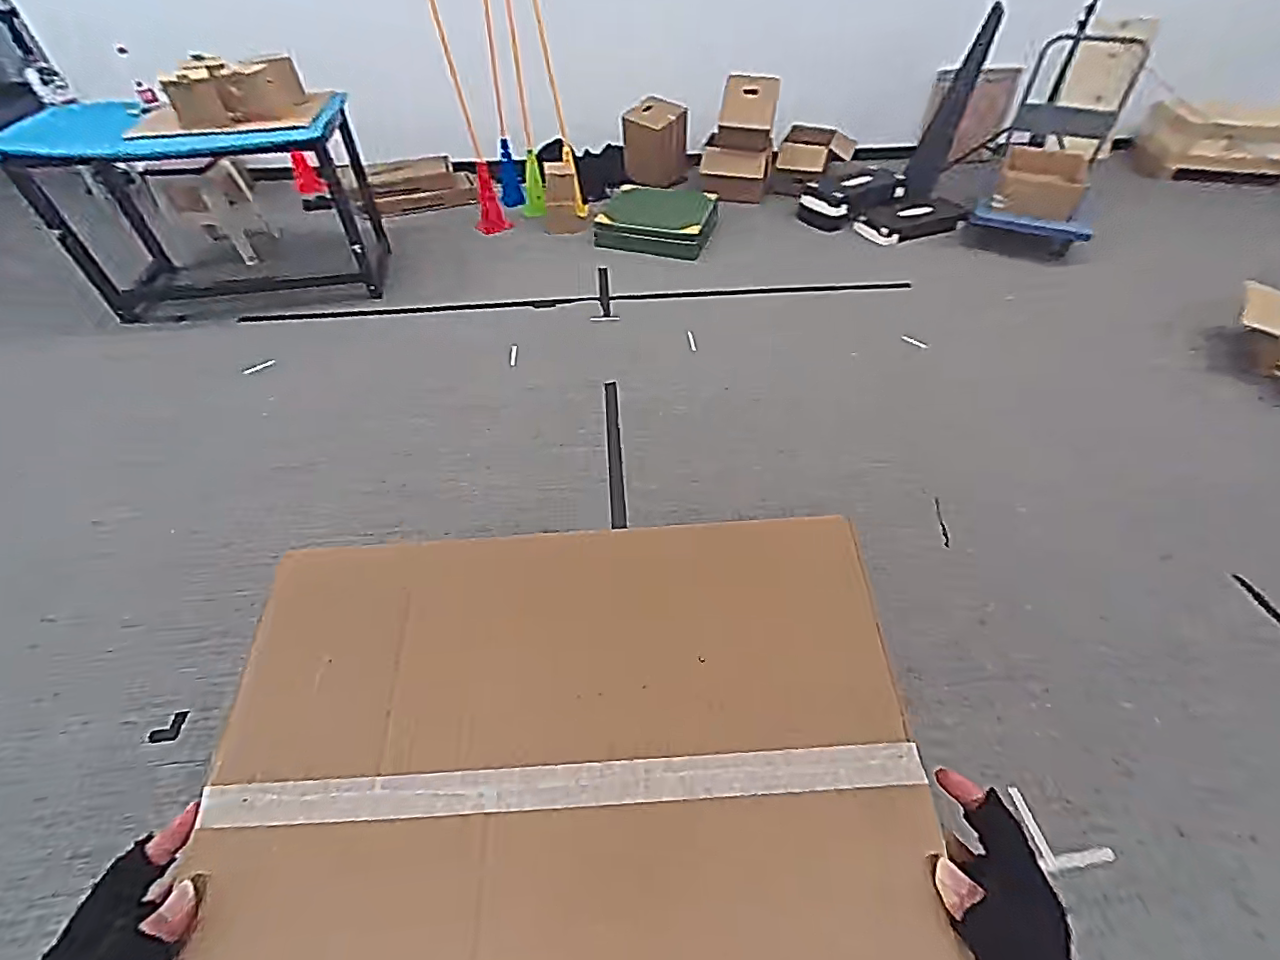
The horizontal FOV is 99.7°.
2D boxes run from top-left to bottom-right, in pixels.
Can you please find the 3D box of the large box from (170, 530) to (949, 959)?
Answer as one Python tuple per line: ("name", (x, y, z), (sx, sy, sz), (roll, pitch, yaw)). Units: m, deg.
("large box", (-0.040, 0.258, 0.440), (0.408, 0.320, 0.320), (-4, 58, 1))
